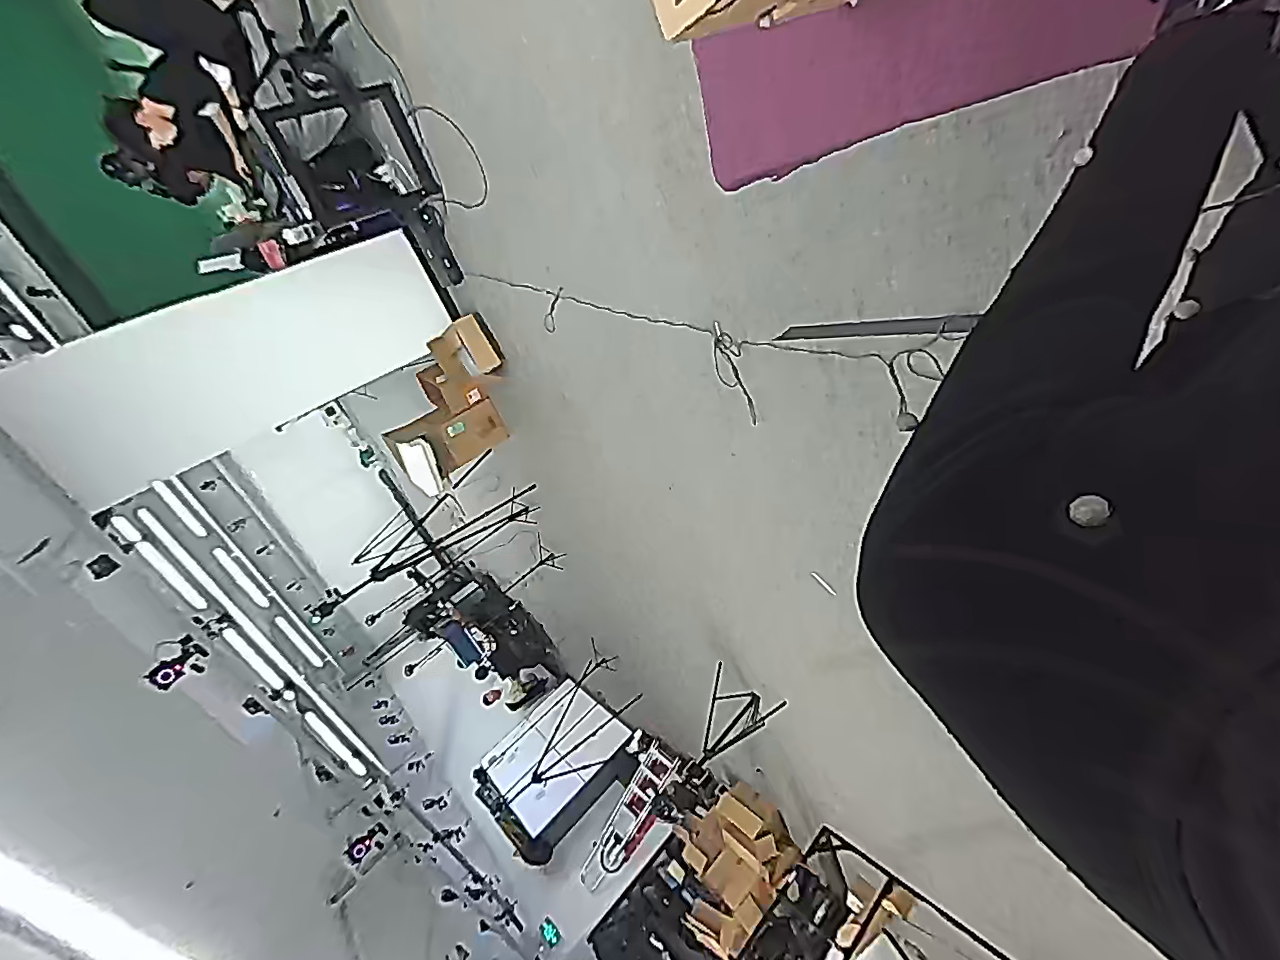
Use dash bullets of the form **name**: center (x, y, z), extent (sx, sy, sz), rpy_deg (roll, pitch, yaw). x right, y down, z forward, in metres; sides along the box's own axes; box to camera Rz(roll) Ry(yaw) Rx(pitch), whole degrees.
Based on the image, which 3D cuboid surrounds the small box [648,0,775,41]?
- **small box**: center (0.100, -0.570, 0.513), extent (0.168, 0.176, 0.179), rpy_deg (12, 132, 51)

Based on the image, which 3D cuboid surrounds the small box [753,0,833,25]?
- **small box**: center (0.221, -0.649, 0.592), extent (0.168, 0.176, 0.179), rpy_deg (16, 136, 47)
